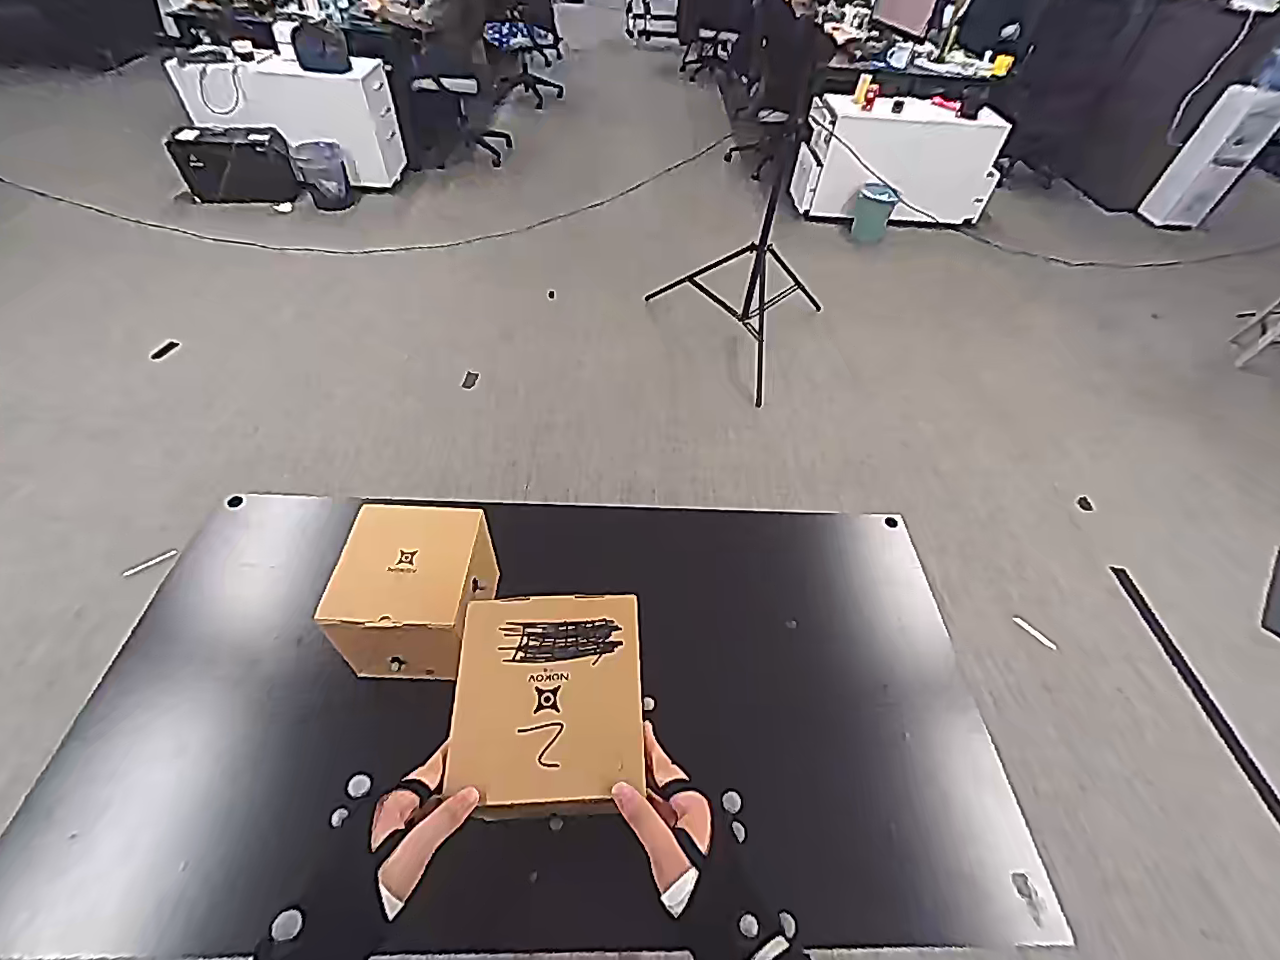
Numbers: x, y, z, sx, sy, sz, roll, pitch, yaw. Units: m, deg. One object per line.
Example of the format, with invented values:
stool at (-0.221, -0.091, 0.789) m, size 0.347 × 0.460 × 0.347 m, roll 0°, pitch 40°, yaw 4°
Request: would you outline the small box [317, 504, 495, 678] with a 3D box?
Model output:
small box at (-0.305, 0.155, 0.751) m, size 0.168 × 0.176 × 0.179 m, roll 3°, pitch 50°, yaw -2°
